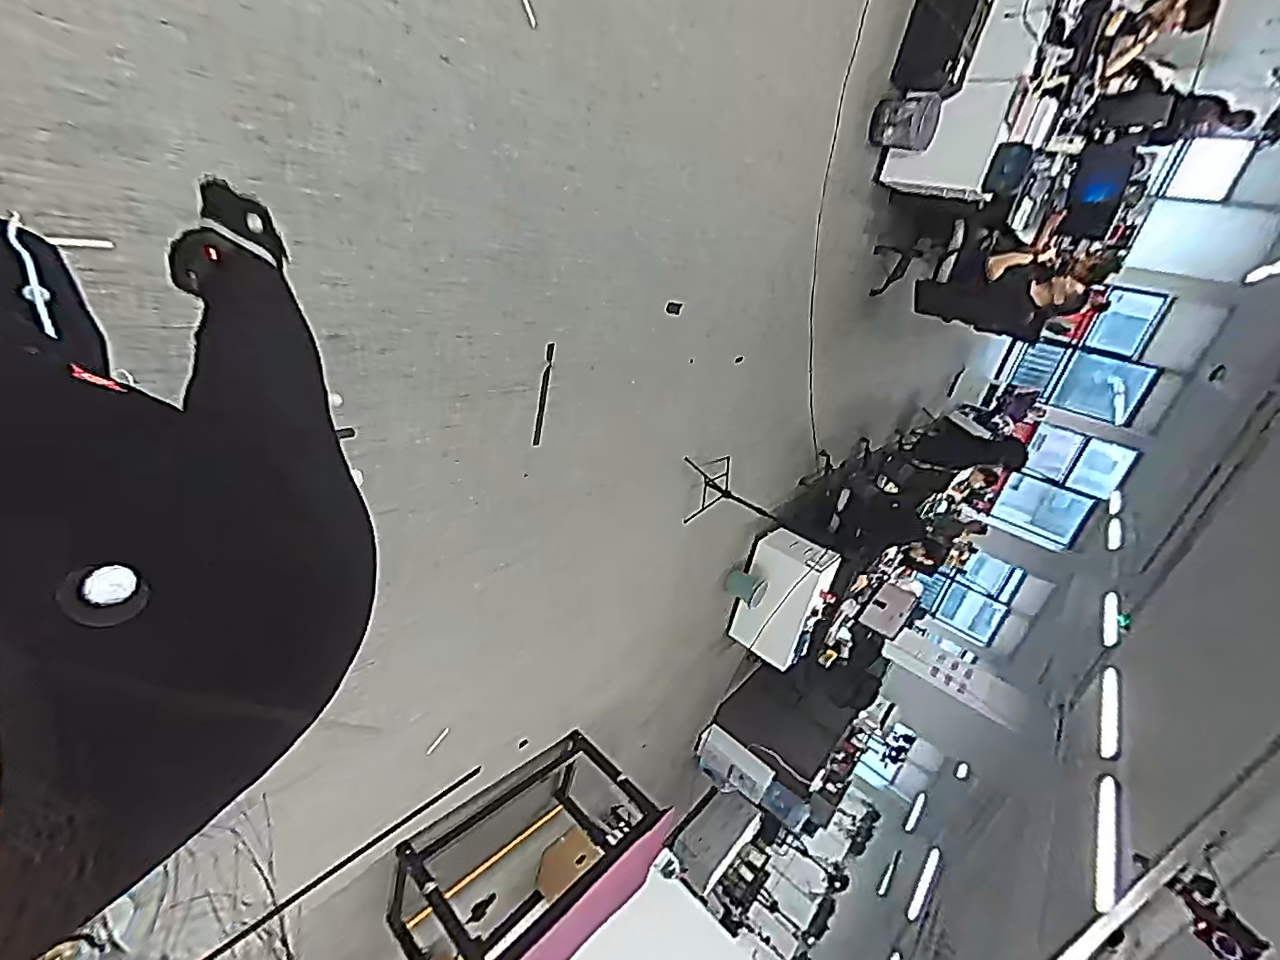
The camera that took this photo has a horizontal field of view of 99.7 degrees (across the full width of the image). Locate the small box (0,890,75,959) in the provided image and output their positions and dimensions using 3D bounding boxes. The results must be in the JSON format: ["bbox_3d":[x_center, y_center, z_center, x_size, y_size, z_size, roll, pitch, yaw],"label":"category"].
[{"bbox_3d":[-1.207,0.946,1.031,0.168,0.176,0.179,-15,128,-48],"label":"small box"}]
